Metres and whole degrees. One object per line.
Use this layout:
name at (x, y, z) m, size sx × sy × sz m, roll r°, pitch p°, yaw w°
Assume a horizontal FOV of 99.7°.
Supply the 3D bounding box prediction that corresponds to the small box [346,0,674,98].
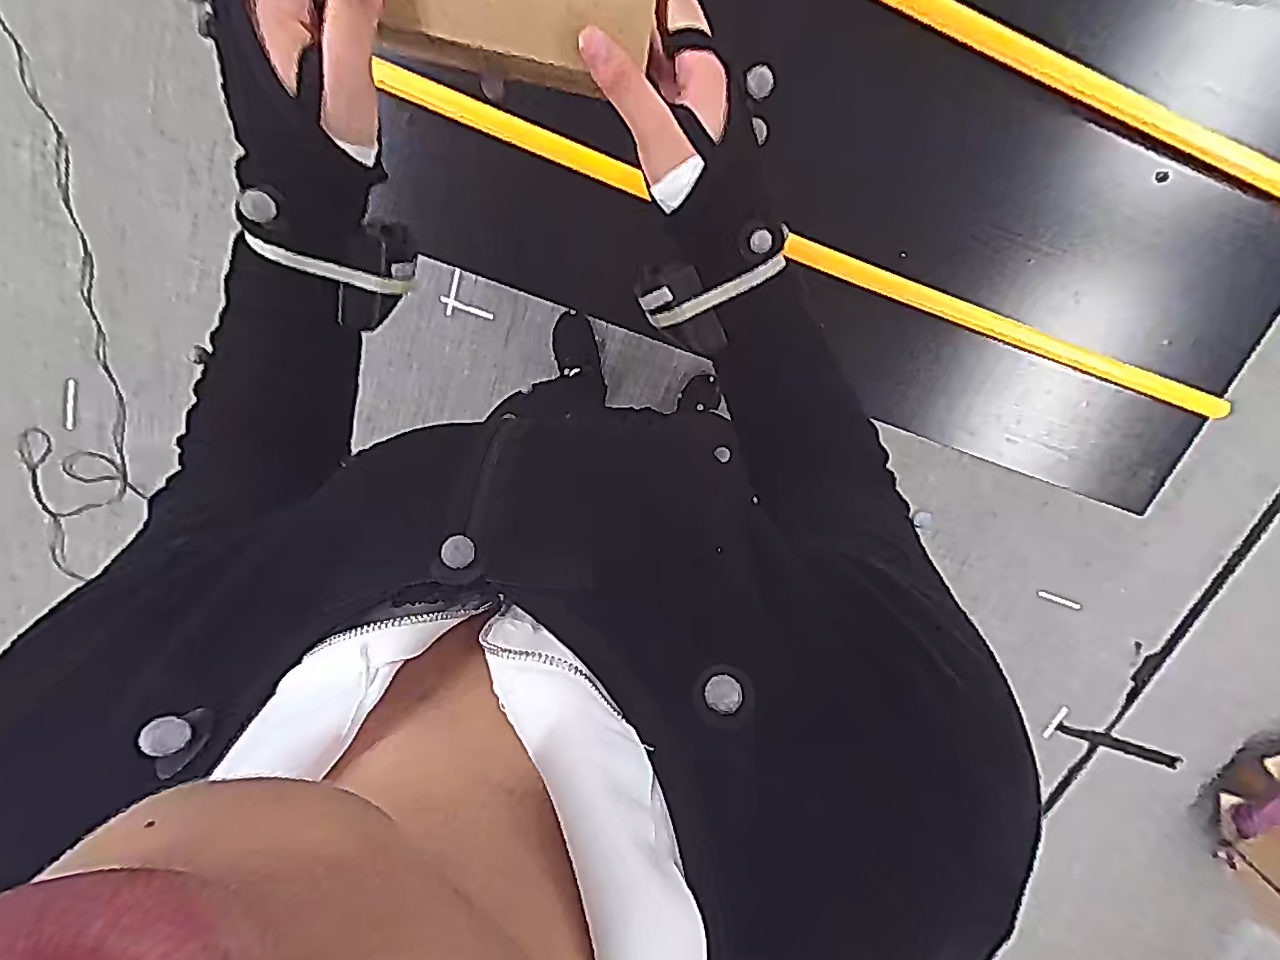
small box at (-0.065, -0.341, 0.307) m, size 0.168 × 0.176 × 0.179 m, roll 4°, pitch 122°, yaw -13°
